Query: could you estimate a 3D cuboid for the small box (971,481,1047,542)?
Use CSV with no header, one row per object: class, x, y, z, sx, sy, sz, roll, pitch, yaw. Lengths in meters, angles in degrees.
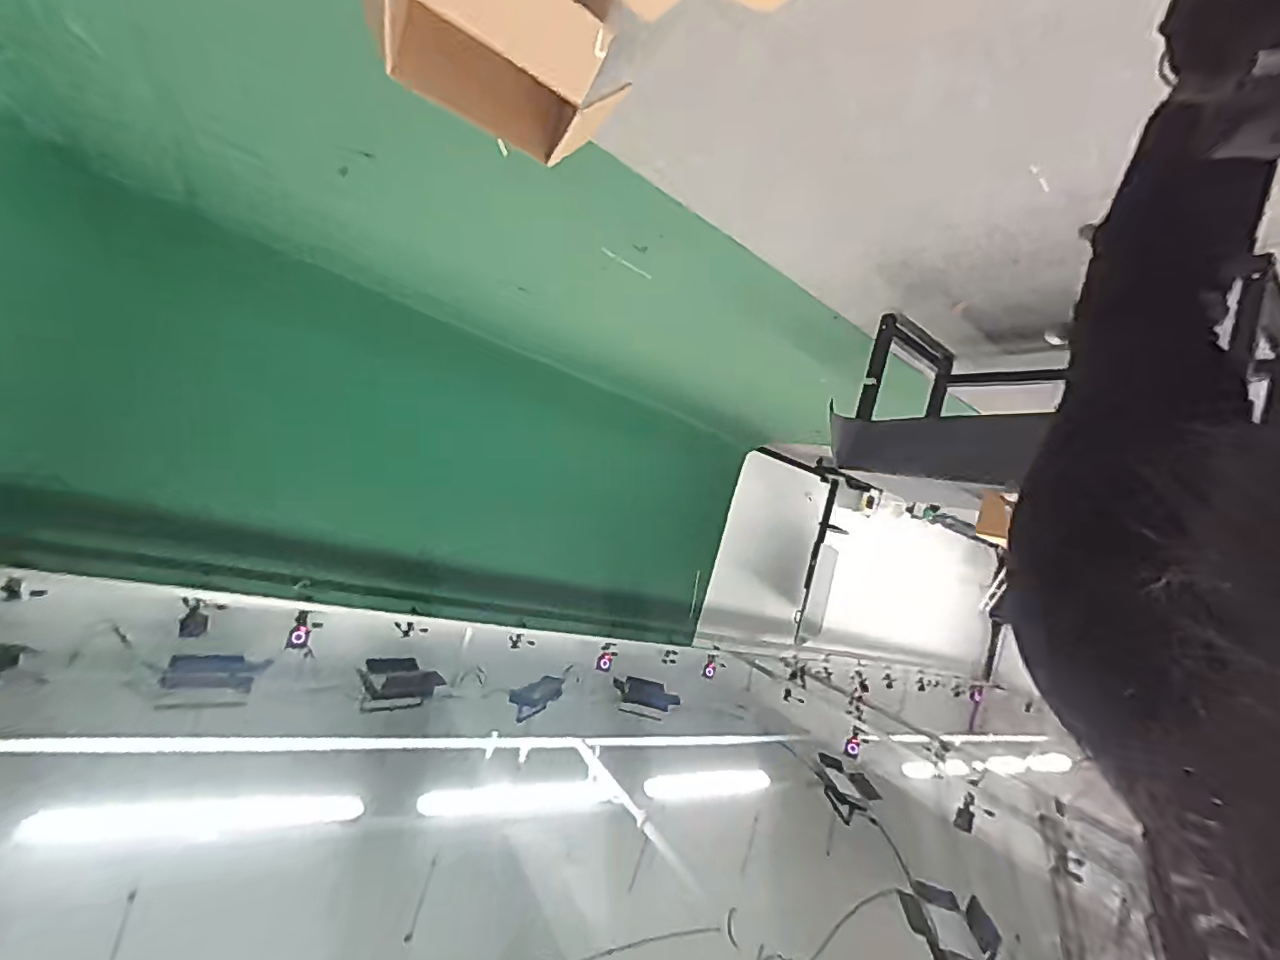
small box,1.334,0.112,1.948,0.179,0.176,0.168,18,177,-35
